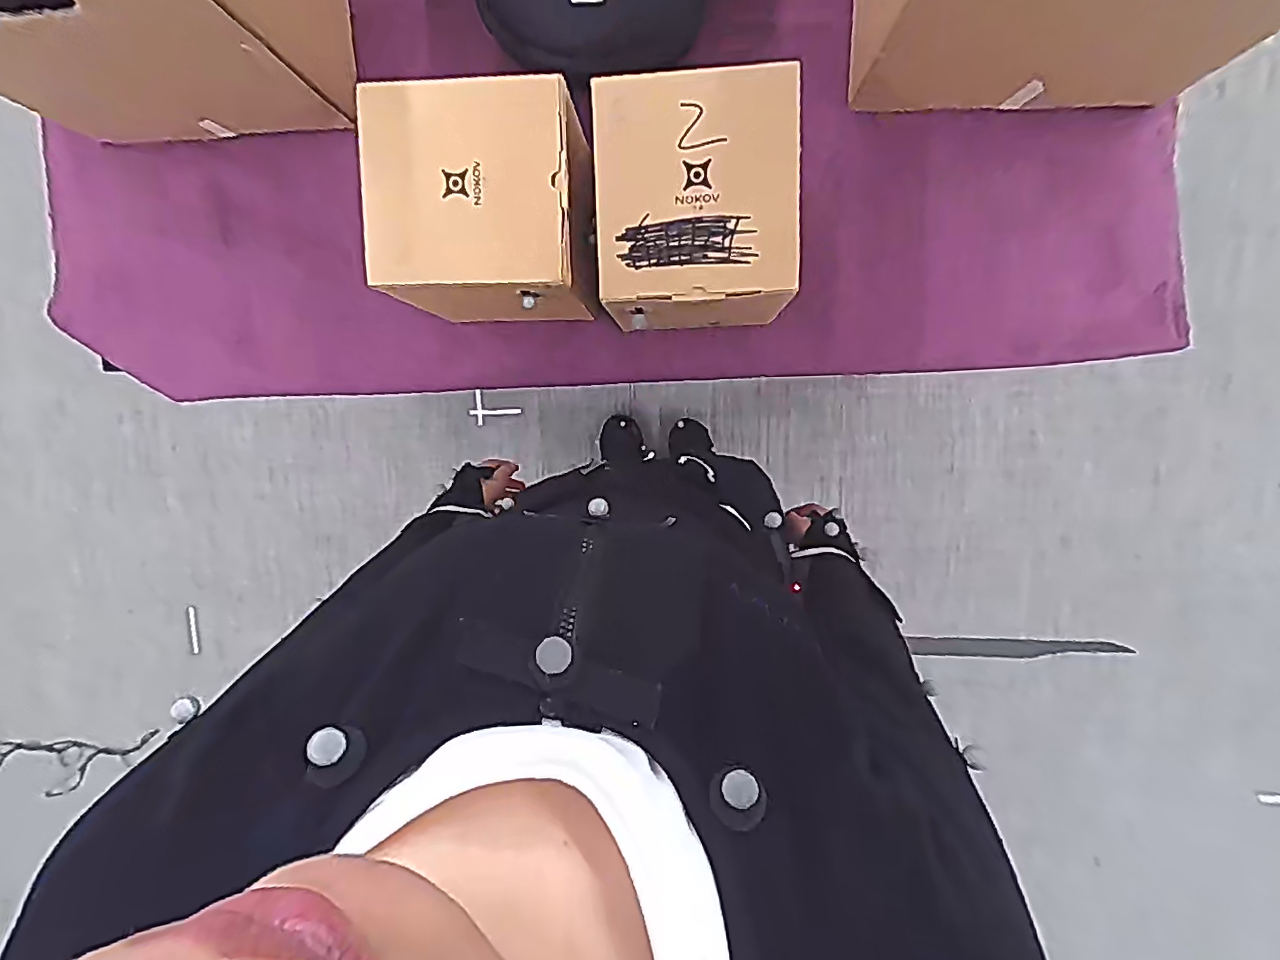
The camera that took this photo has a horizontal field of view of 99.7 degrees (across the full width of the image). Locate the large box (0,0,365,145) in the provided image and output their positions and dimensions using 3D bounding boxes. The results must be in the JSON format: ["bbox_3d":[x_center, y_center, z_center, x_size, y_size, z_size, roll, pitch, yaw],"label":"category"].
[{"bbox_3d":[-0.476,-0.565,0.445,0.320,0.320,0.408,-3,100,3],"label":"large box"}]
